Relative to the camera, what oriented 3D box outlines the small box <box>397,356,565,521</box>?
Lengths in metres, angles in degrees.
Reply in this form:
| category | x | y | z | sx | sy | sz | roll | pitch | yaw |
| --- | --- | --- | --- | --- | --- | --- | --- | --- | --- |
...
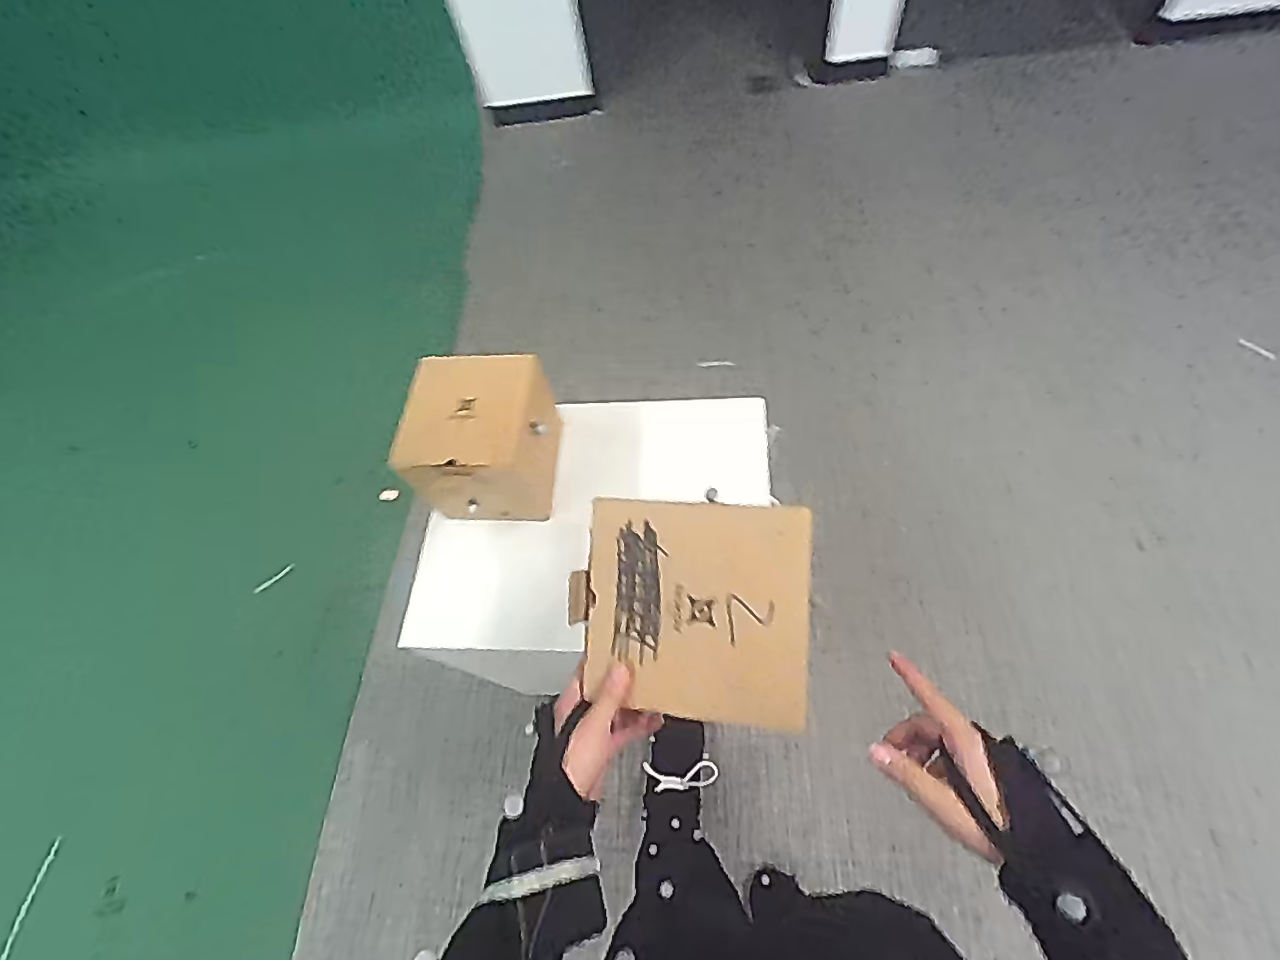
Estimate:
| category | x | y | z | sx | sy | sz | roll | pitch | yaw |
| --- | --- | --- | --- | --- | --- | --- | --- | --- | --- |
| small box | -0.210 | -0.057 | 0.774 | 0.168 | 0.176 | 0.179 | 1 | 63 | 7 |
